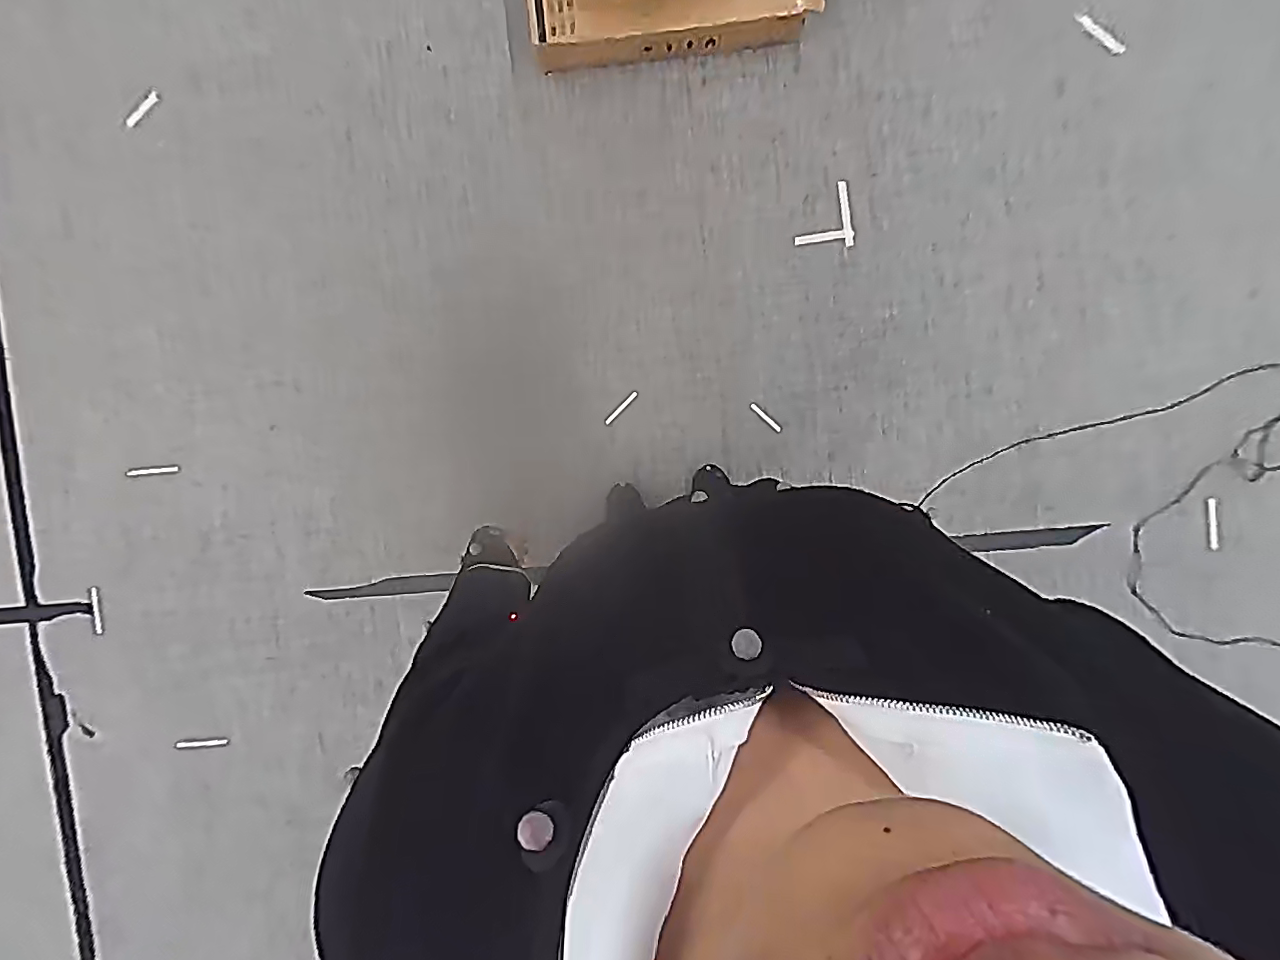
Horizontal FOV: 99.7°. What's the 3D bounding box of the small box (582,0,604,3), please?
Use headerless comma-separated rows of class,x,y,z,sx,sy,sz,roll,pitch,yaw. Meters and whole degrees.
small box,-0.090,-1.277,1.272,0.168,0.176,0.179,-8,92,2
